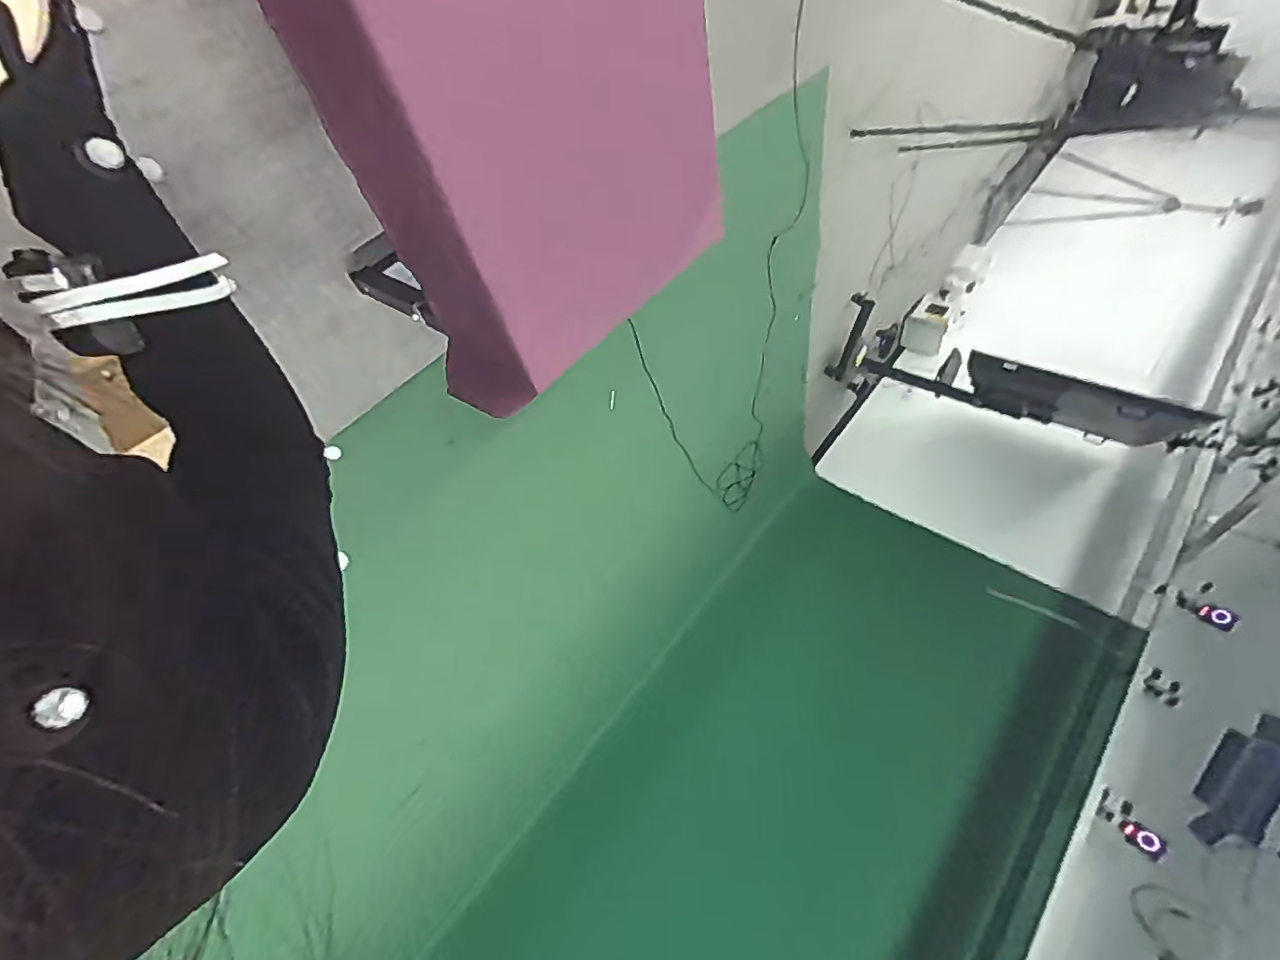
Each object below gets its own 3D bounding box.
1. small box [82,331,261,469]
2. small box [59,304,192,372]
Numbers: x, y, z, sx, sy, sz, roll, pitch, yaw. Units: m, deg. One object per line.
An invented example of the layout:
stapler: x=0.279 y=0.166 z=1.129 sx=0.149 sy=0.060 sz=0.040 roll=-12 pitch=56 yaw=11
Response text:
small box: x=-0.877 y=-0.158 z=1.015 sx=0.168 sy=0.176 sz=0.179 roll=-45 pitch=148 yaw=-22
small box: x=-0.999 y=-0.235 z=1.091 sx=0.168 sy=0.176 sz=0.179 roll=-44 pitch=147 yaw=-25
